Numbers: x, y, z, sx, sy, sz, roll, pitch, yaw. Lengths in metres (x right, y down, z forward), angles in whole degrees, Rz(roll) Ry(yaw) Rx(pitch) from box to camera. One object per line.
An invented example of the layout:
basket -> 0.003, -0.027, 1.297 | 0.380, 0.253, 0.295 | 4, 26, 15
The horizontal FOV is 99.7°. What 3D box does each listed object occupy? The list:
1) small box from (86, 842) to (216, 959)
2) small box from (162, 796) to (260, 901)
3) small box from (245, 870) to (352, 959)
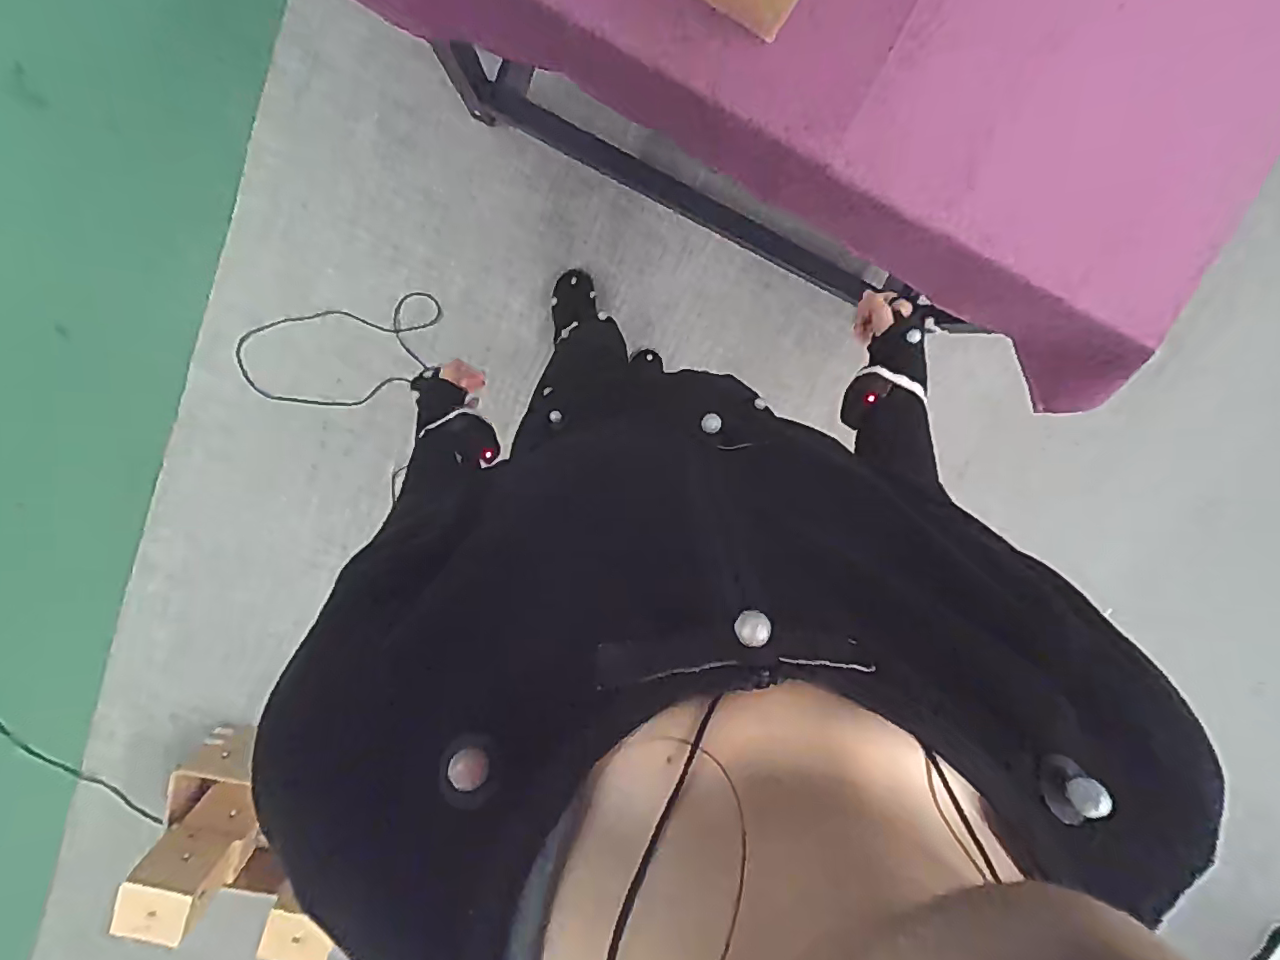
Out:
small box -> -1.222, 1.065, 1.366 | 0.168, 0.176, 0.179 | 21, 101, -9
small box -> -1.224, 1.034, 1.528 | 0.179, 0.176, 0.168 | 21, 100, -10
small box -> -0.896, 1.177, 1.423 | 0.179, 0.176, 0.168 | 22, 99, -9
